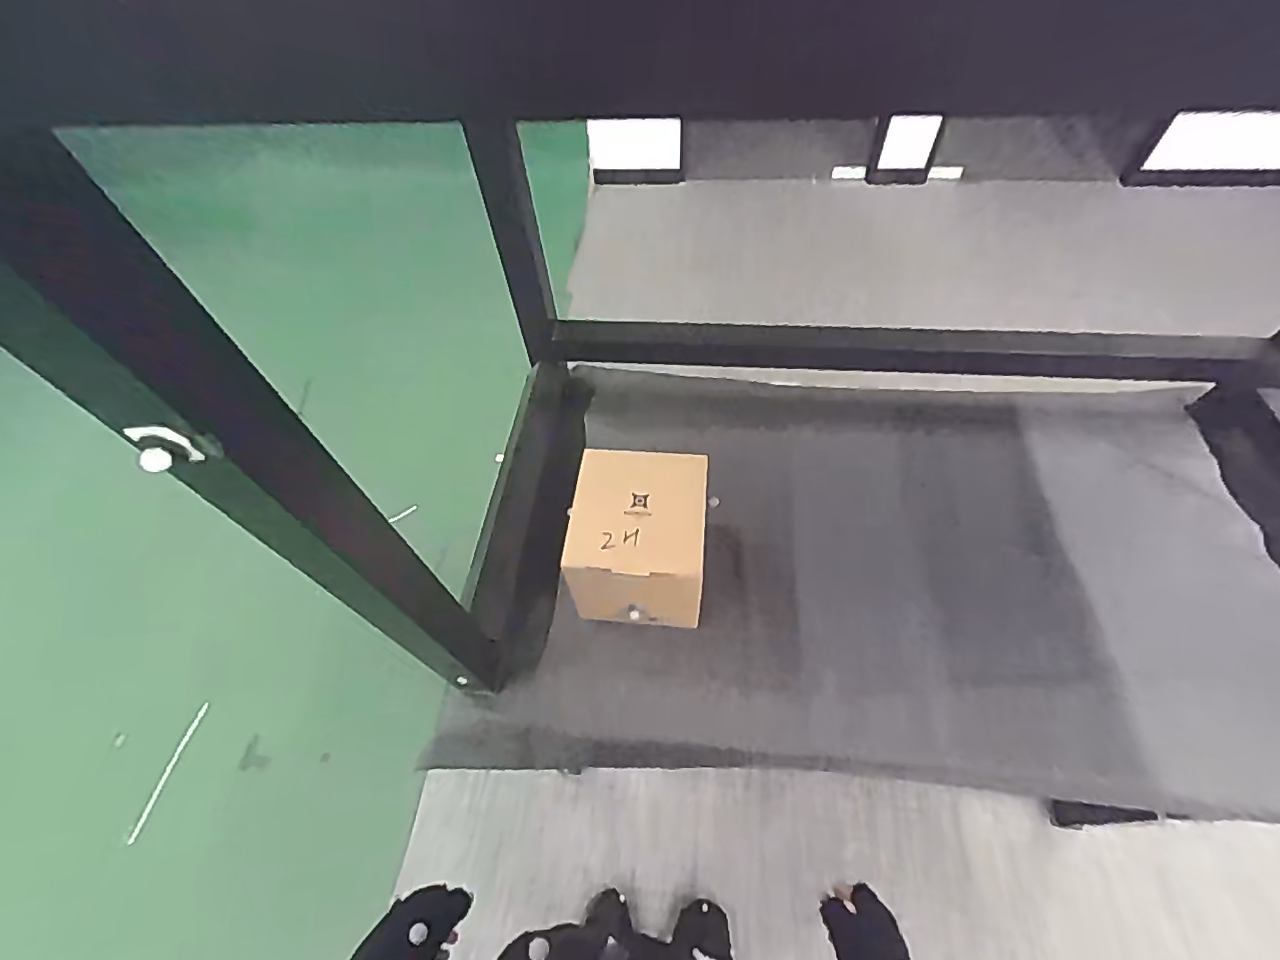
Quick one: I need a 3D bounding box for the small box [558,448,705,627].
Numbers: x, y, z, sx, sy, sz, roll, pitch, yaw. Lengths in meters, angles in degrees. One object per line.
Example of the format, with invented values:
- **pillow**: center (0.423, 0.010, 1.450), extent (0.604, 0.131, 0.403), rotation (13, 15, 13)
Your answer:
- **small box**: center (-0.002, 0.078, 0.729), extent (0.168, 0.176, 0.179), rotation (3, 55, 6)
